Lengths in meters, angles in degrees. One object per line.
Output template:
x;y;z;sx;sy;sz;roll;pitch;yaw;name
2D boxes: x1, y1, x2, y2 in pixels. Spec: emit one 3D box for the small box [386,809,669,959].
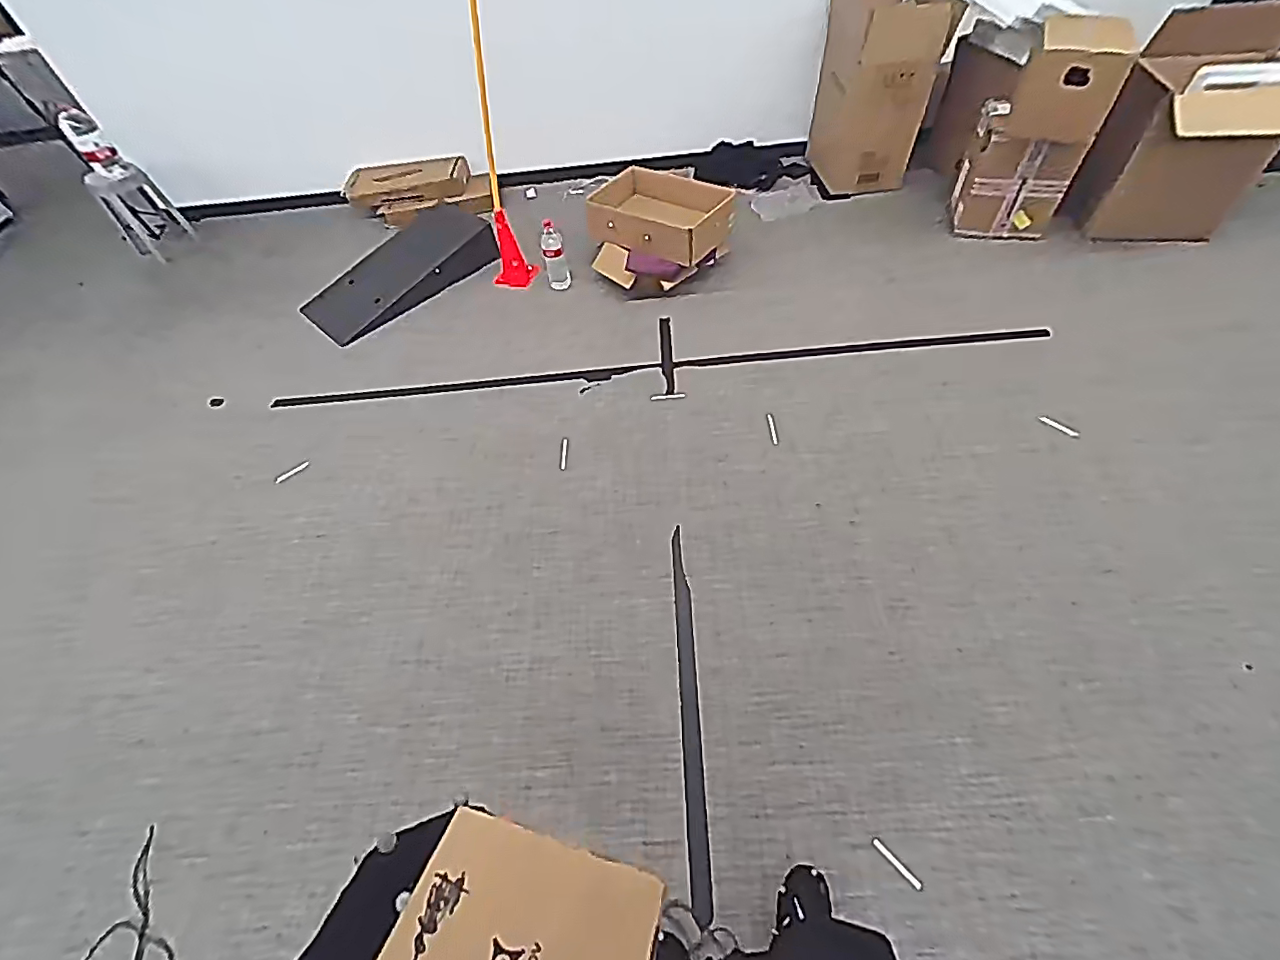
-0.091;0.394;0.403;0.179;0.176;0.168;14;33;8;small box
